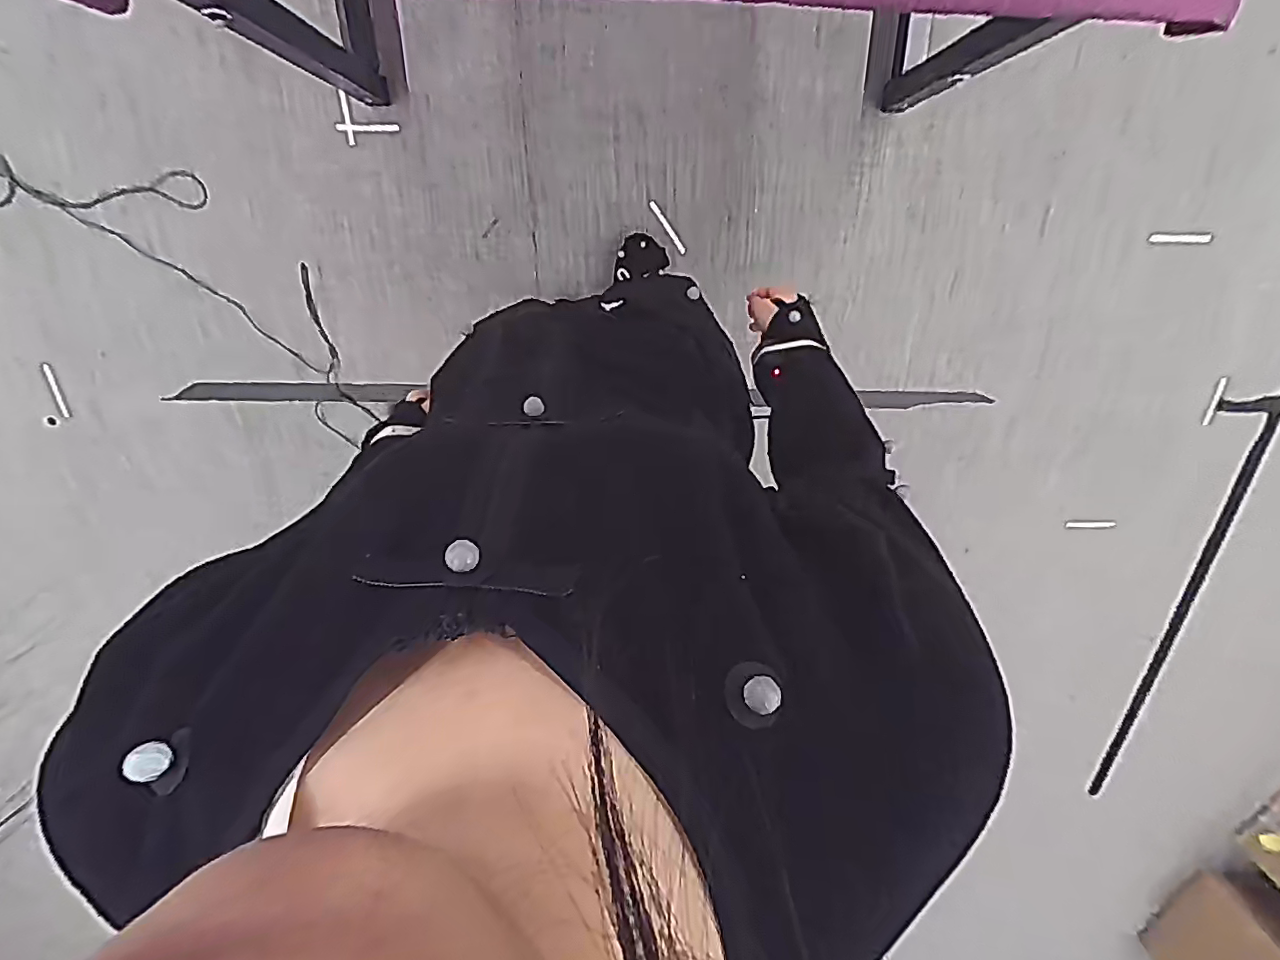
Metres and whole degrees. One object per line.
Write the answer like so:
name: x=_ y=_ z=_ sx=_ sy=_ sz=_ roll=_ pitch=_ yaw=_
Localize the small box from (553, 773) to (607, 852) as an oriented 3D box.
small box: x=-0.206 y=1.178 z=1.917 sx=0.168 sy=0.176 sz=0.179 roll=-6 pitch=114 yaw=-1
